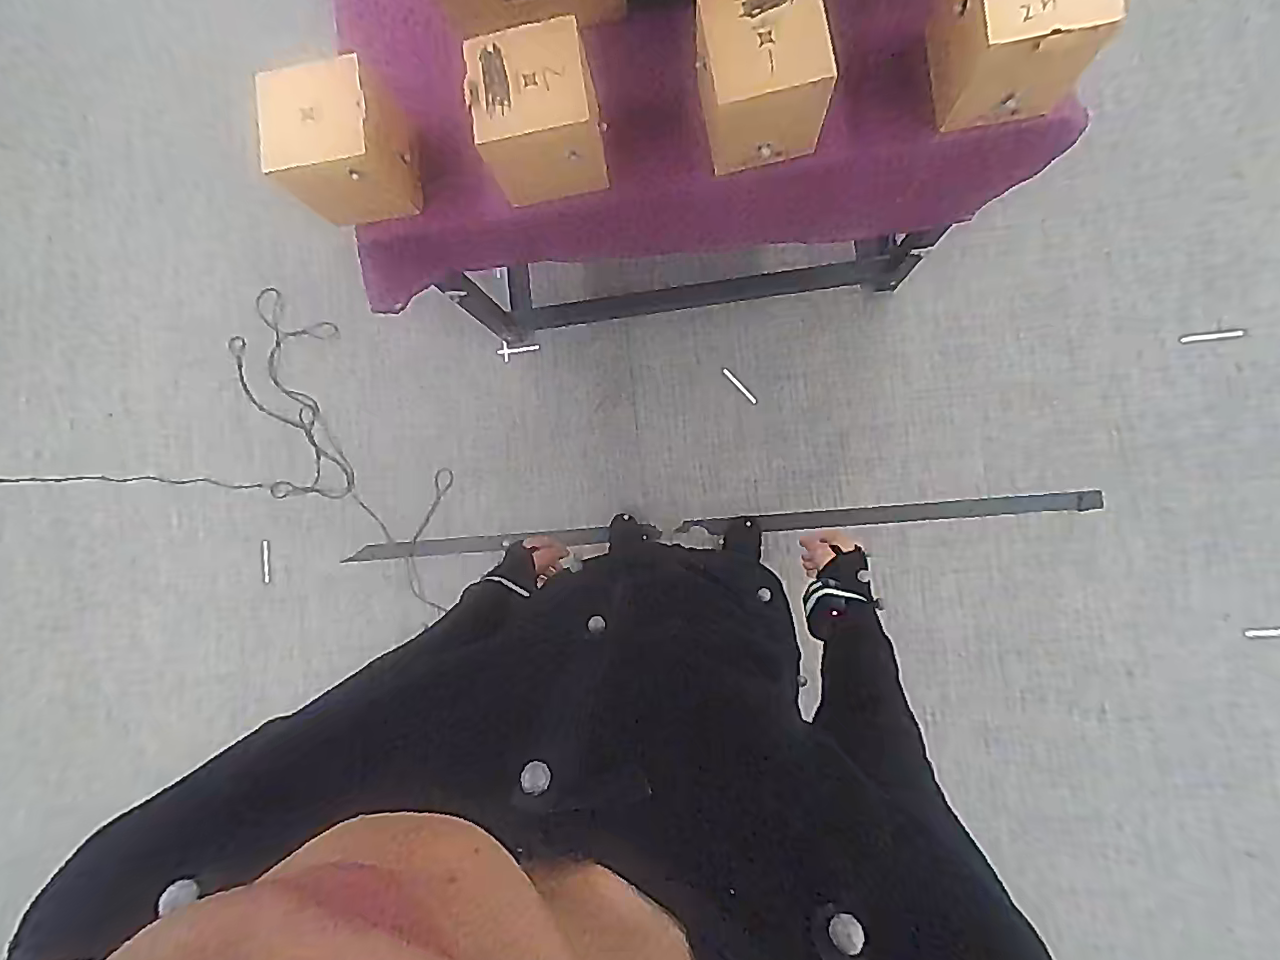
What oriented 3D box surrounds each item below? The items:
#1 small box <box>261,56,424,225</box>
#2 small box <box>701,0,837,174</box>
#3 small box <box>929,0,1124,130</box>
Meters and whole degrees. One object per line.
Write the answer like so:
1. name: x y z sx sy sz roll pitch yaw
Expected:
1. small box: -0.491 -0.554 0.909 0.179 0.176 0.168 -7 86 5
2. small box: 0.186 -0.614 0.828 0.168 0.176 0.179 -10 87 7
3. small box: 0.540 -0.656 0.784 0.168 0.176 0.179 -5 86 8
